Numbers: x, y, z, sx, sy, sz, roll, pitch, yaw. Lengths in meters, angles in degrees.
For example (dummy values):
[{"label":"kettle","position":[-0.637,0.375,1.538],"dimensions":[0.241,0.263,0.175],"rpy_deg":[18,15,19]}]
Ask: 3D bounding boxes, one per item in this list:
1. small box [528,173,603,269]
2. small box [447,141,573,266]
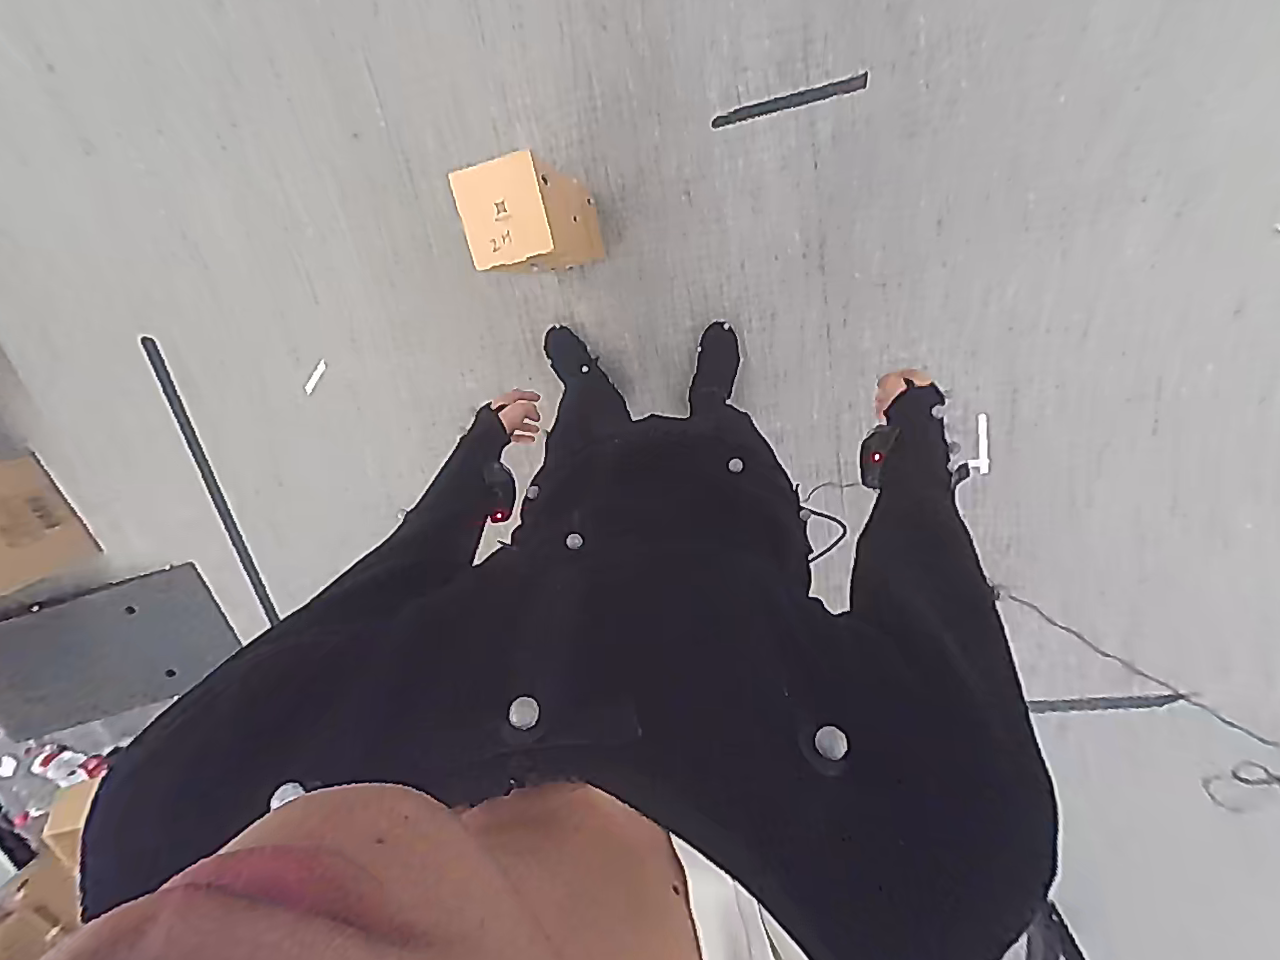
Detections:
[{"label":"small box","position":[-0.202,-0.647,1.370],"dimensions":[0.168,0.176,0.179],"rpy_deg":[-10,108,11]},{"label":"small box","position":[-0.246,-0.532,1.067],"dimensions":[0.168,0.176,0.179],"rpy_deg":[-9,109,12]}]
